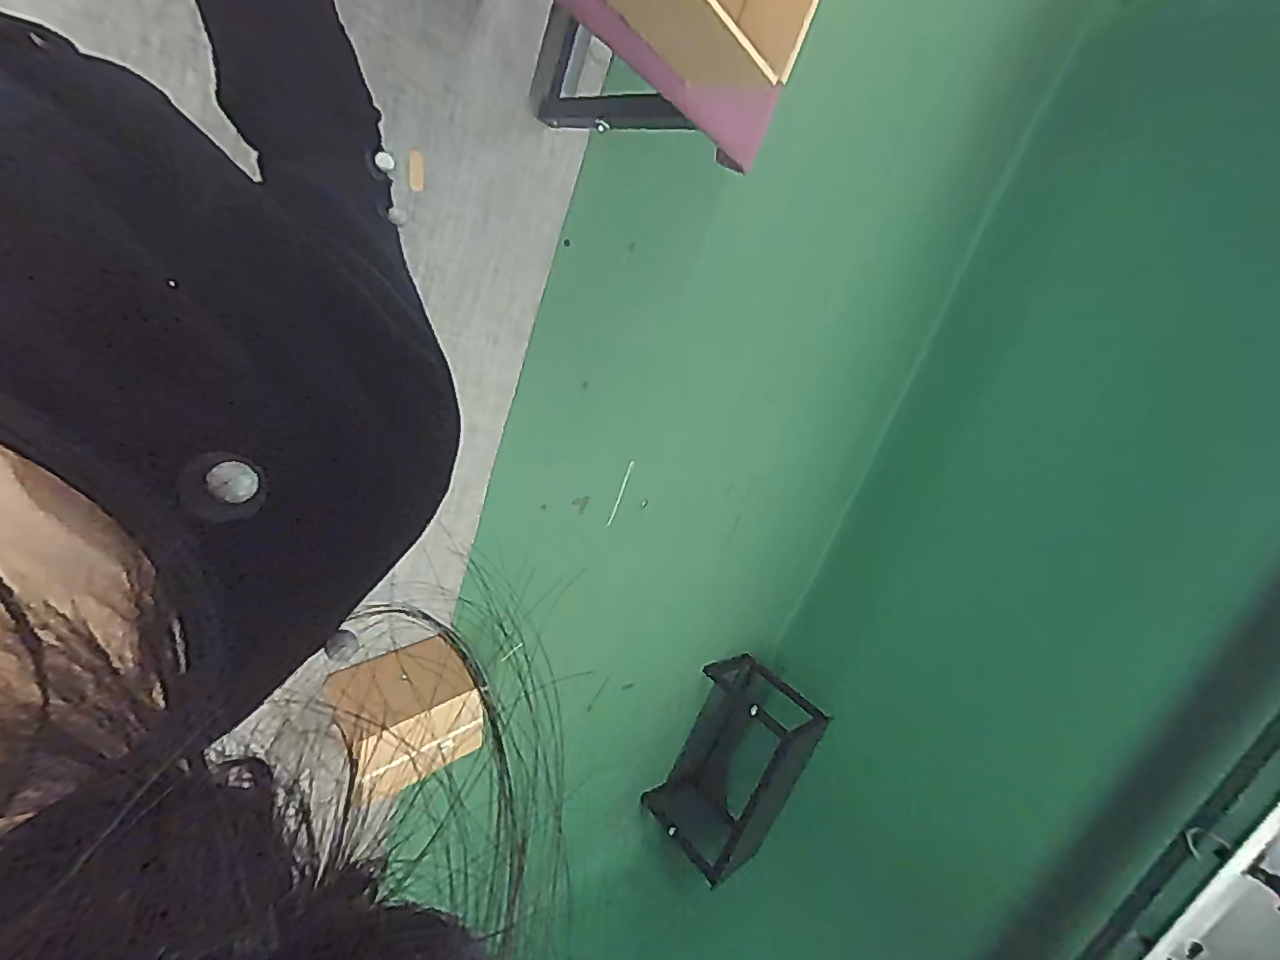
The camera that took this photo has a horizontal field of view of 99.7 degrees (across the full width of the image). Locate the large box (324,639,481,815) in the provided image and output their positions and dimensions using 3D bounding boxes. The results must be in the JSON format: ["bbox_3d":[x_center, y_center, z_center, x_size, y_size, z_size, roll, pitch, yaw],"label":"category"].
[{"bbox_3d":[-0.804,0.817,1.849,0.408,0.320,0.320,-14,125,-42],"label":"large box"}]
